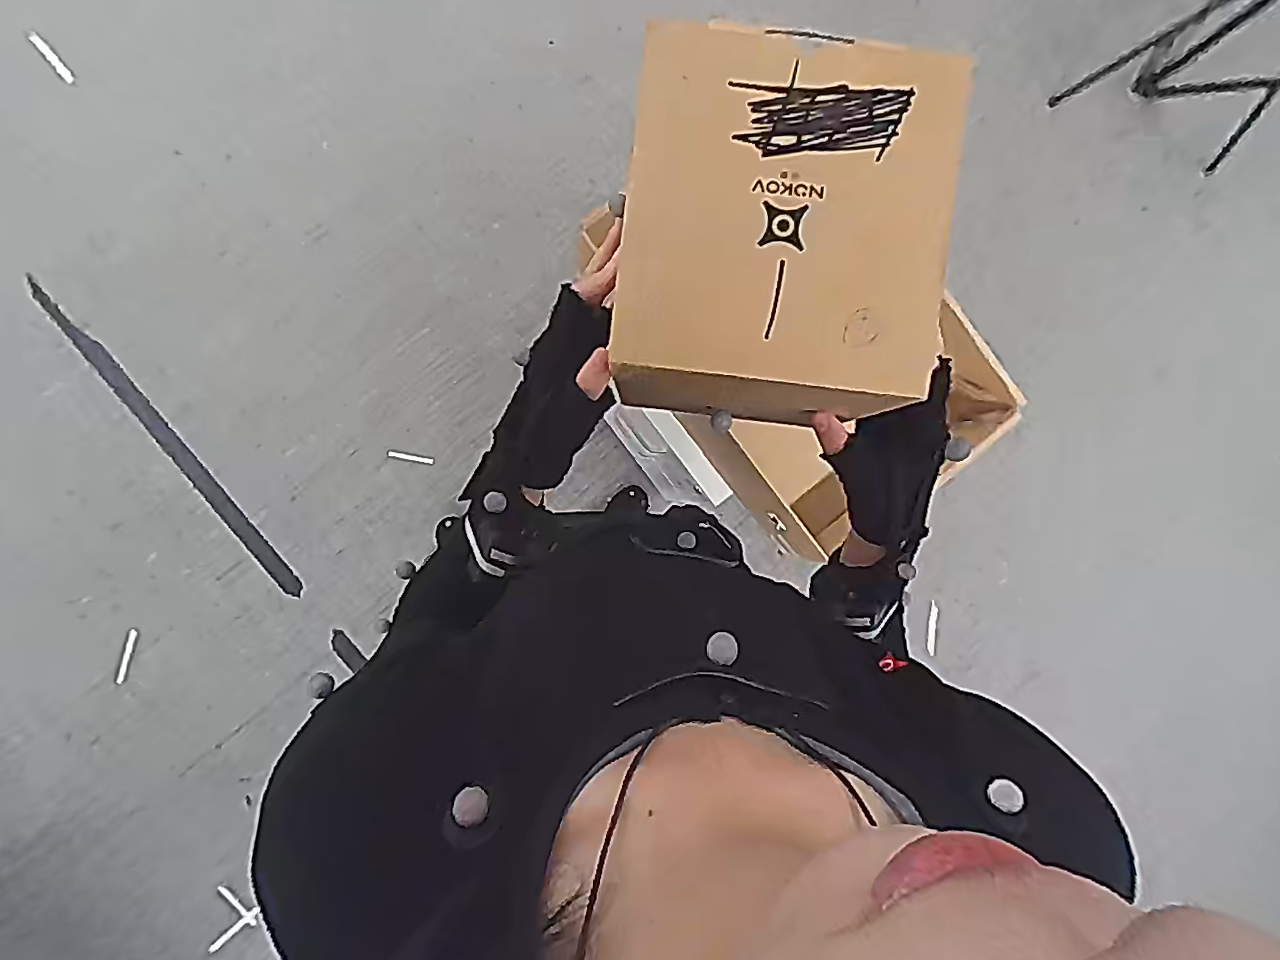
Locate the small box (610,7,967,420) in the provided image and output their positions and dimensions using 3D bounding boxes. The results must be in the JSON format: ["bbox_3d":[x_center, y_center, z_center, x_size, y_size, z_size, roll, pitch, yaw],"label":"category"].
[{"bbox_3d":[0.074,-0.142,0.350,0.168,0.176,0.179,6,90,1],"label":"small box"}]
